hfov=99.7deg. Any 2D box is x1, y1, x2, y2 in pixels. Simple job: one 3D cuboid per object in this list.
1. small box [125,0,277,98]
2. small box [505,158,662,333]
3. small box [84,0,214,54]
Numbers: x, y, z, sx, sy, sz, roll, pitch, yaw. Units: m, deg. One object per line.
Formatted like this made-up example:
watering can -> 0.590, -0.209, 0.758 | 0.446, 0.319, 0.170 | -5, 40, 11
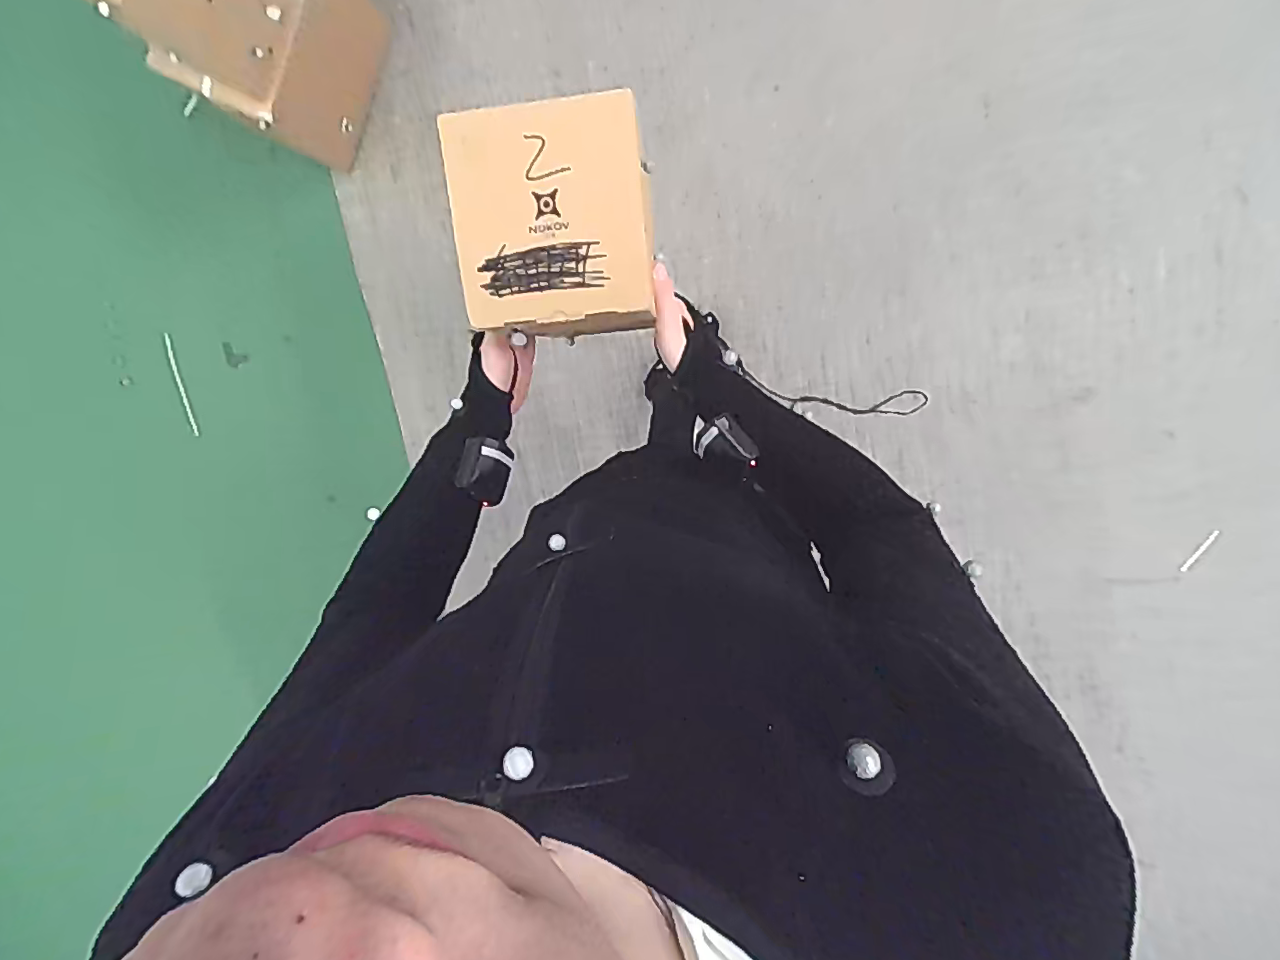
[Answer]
small box -> -0.903, -0.936, 1.110 | 0.179, 0.176, 0.168 | 24, 100, -2
small box -> -0.060, -0.285, 0.699 | 0.168, 0.176, 0.179 | -4, 102, 4
small box -> -0.903, -0.904, 0.949 | 0.179, 0.176, 0.168 | 24, 100, -1
